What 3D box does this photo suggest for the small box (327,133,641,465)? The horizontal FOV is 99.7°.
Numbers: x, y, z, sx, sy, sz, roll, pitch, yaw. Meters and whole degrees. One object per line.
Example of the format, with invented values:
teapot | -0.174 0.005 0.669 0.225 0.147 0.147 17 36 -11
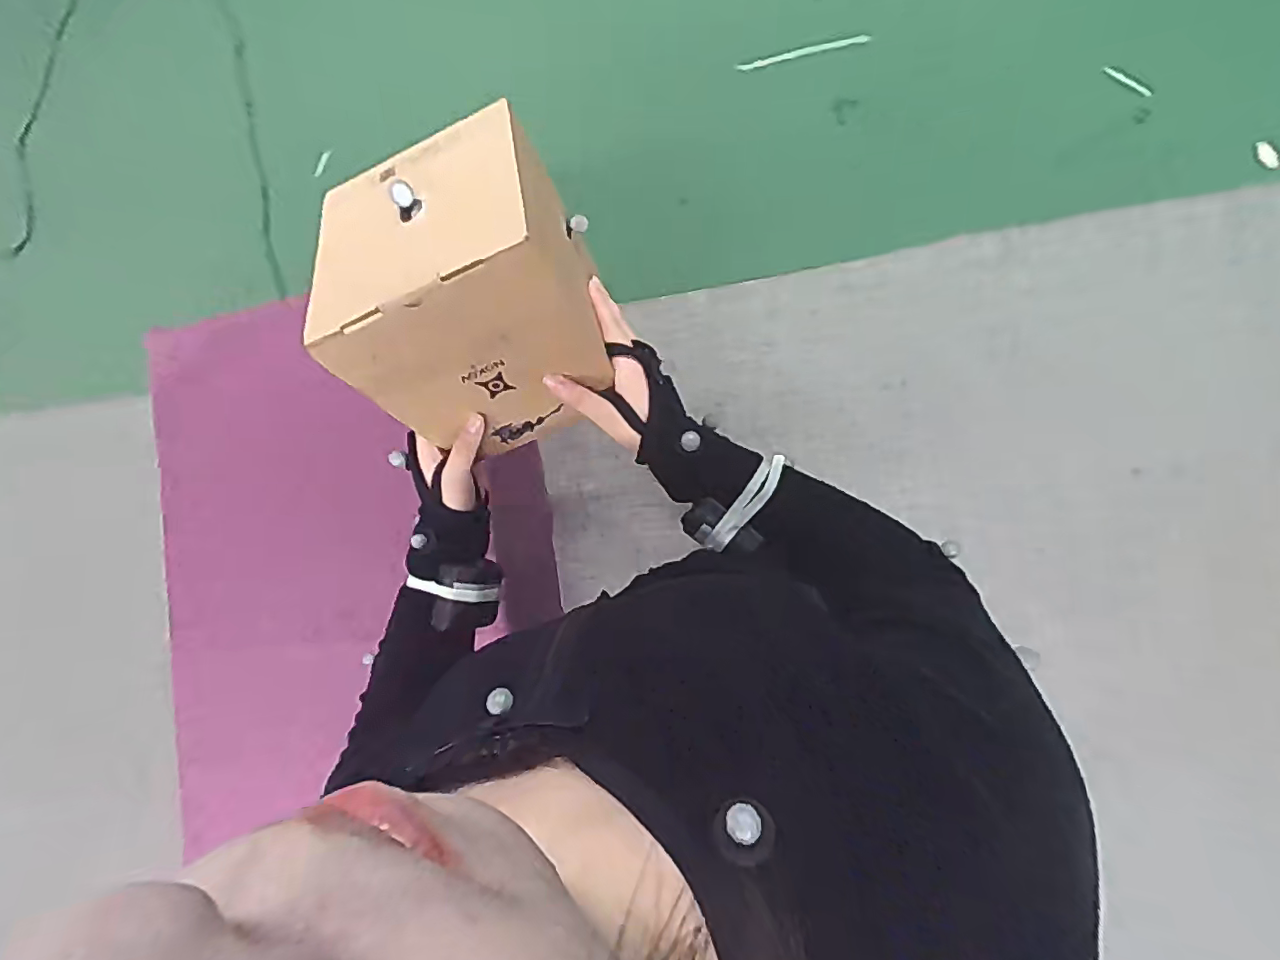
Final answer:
small box | -0.115 -0.144 0.443 0.168 0.179 0.176 -18 59 12
